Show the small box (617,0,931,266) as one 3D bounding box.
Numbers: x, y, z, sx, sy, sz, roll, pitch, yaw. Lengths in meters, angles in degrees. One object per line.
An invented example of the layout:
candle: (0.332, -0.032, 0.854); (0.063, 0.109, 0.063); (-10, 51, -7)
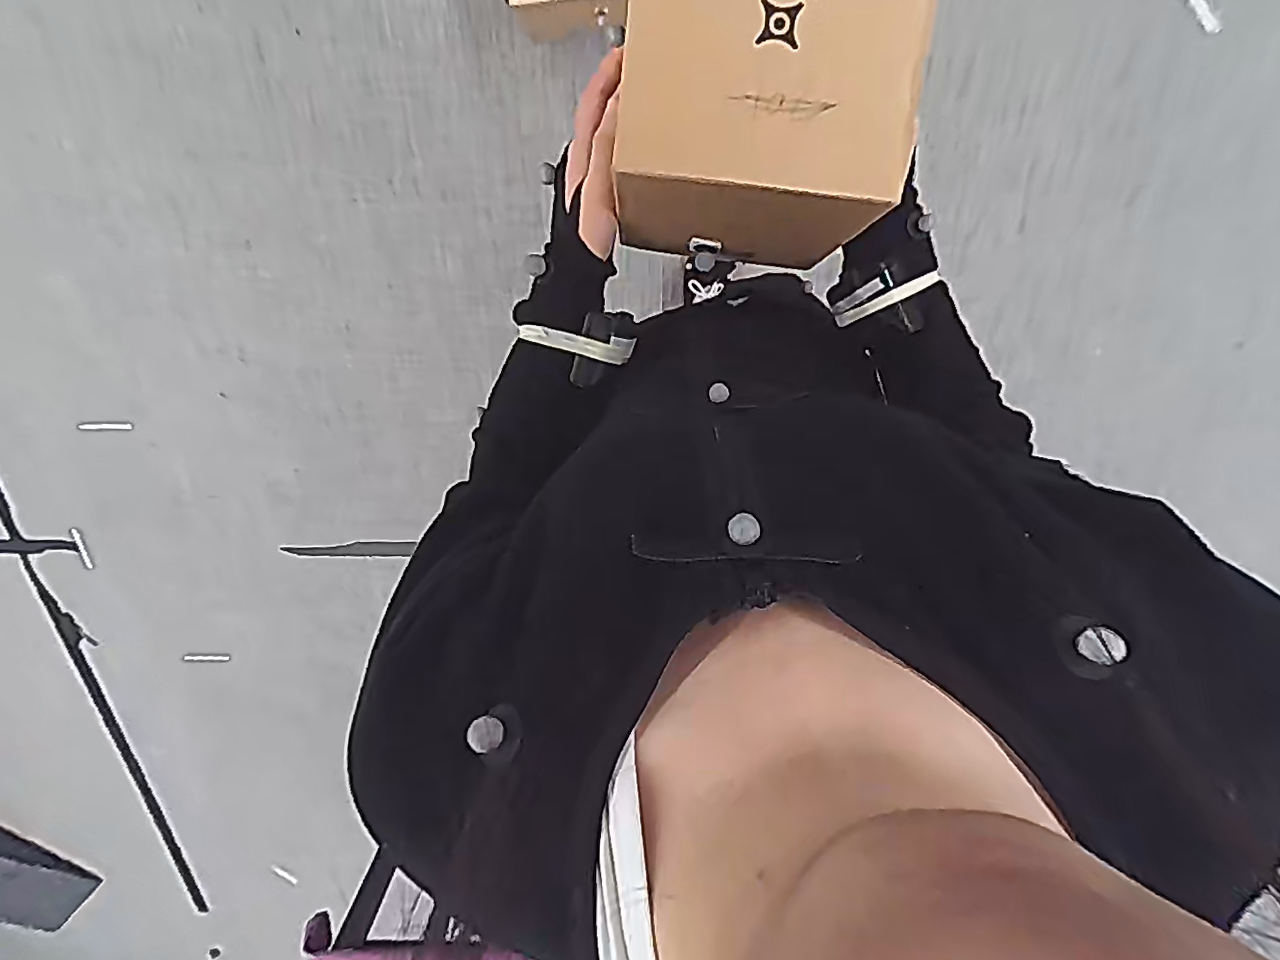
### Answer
small box: (0.075, -0.266, 0.375); (0.168, 0.176, 0.179); (6, 99, -1)
